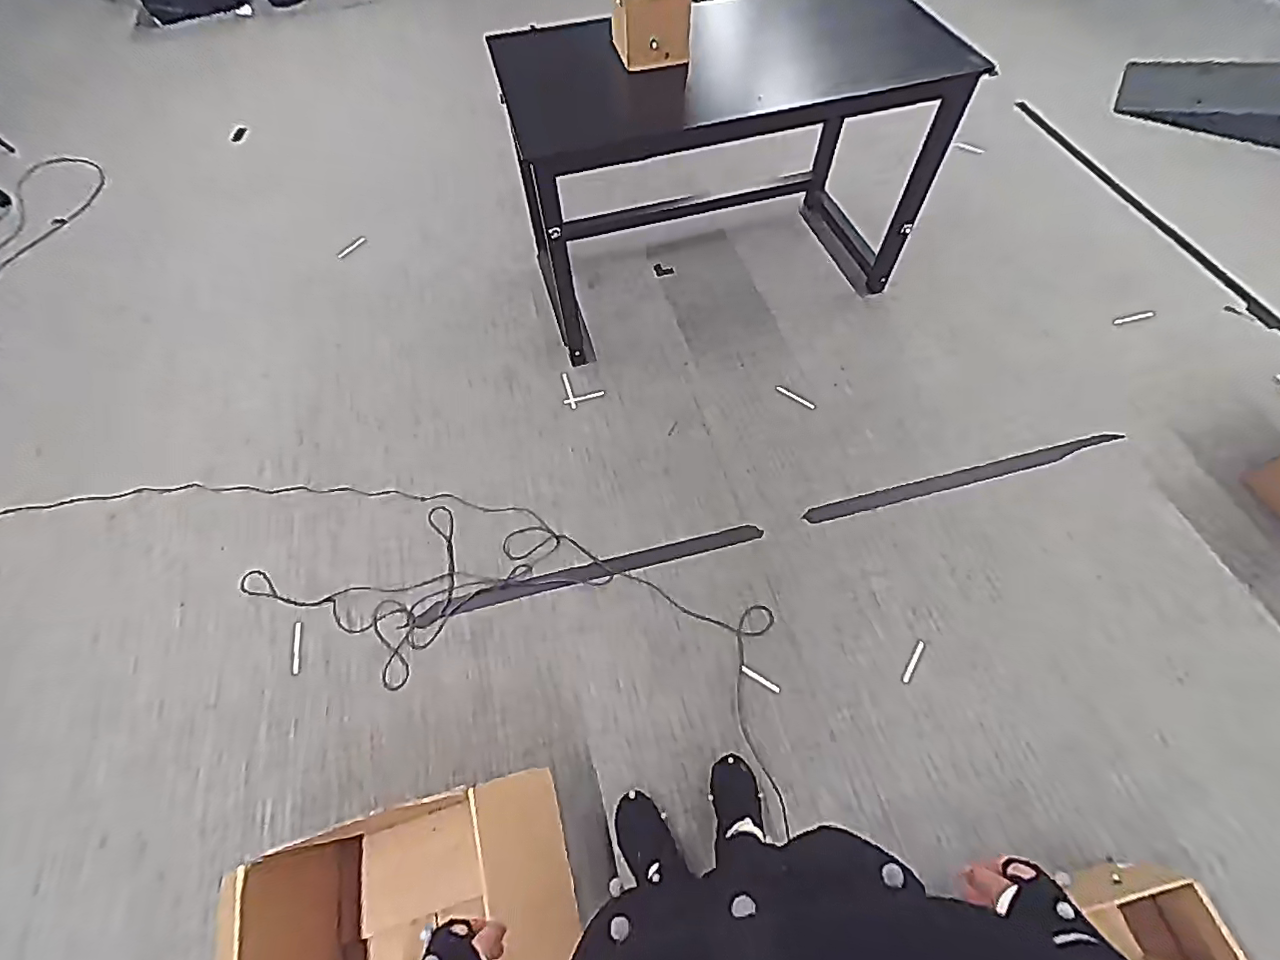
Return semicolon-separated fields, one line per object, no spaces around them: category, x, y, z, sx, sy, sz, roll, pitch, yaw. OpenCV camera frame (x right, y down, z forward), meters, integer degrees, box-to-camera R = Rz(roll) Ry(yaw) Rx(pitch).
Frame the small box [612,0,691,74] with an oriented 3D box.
small box;0.024;-1.181;1.383;0.168;0.176;0.179;-14;62;-6
